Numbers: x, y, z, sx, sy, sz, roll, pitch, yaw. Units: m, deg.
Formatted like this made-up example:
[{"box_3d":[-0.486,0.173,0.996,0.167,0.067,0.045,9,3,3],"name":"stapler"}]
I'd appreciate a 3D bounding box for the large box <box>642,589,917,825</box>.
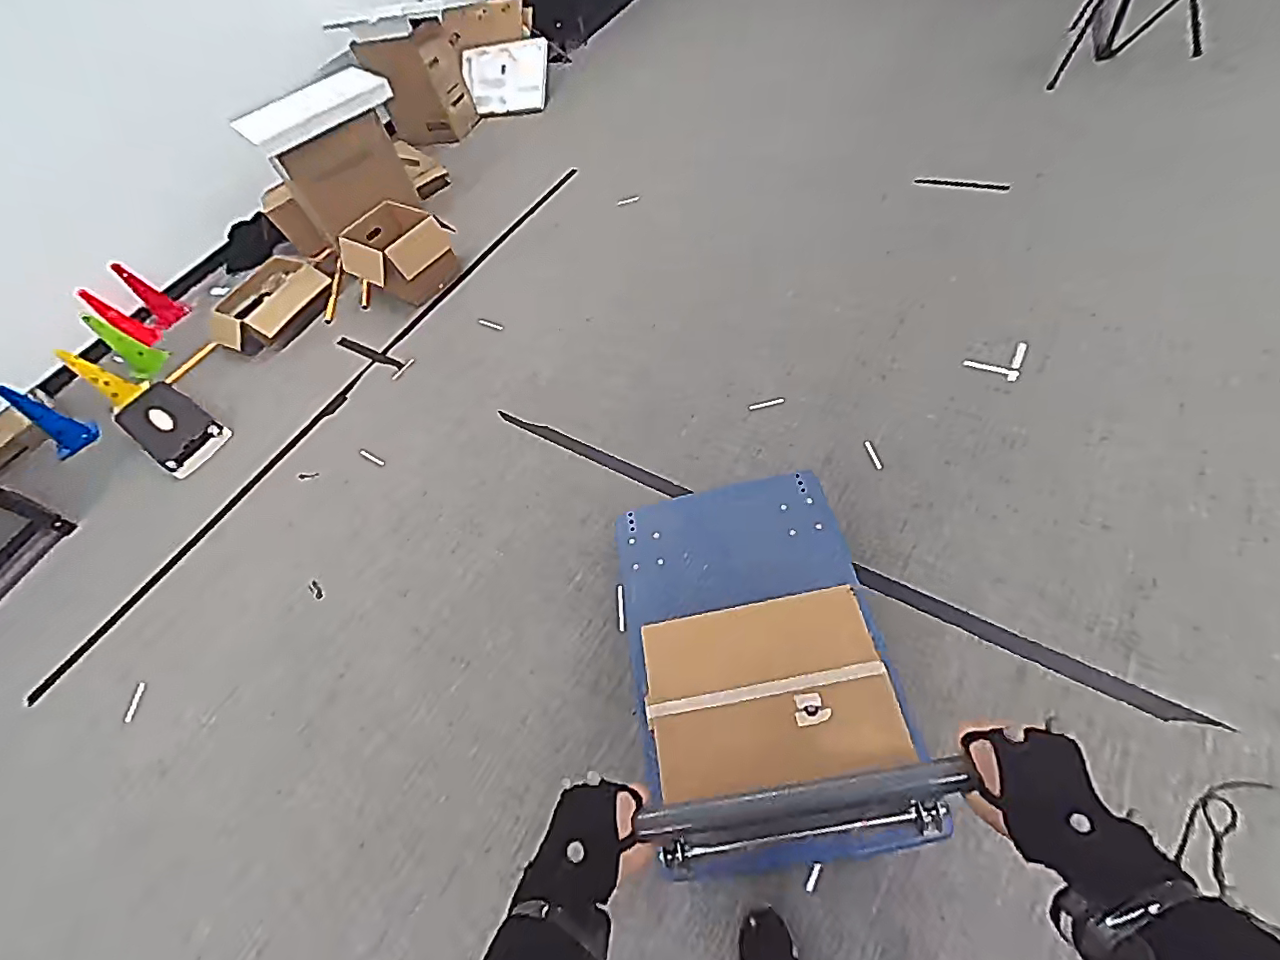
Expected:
[{"box_3d":[0.243,0.452,1.049,0.408,0.320,0.320,-13,55,5],"name":"large box"}]
